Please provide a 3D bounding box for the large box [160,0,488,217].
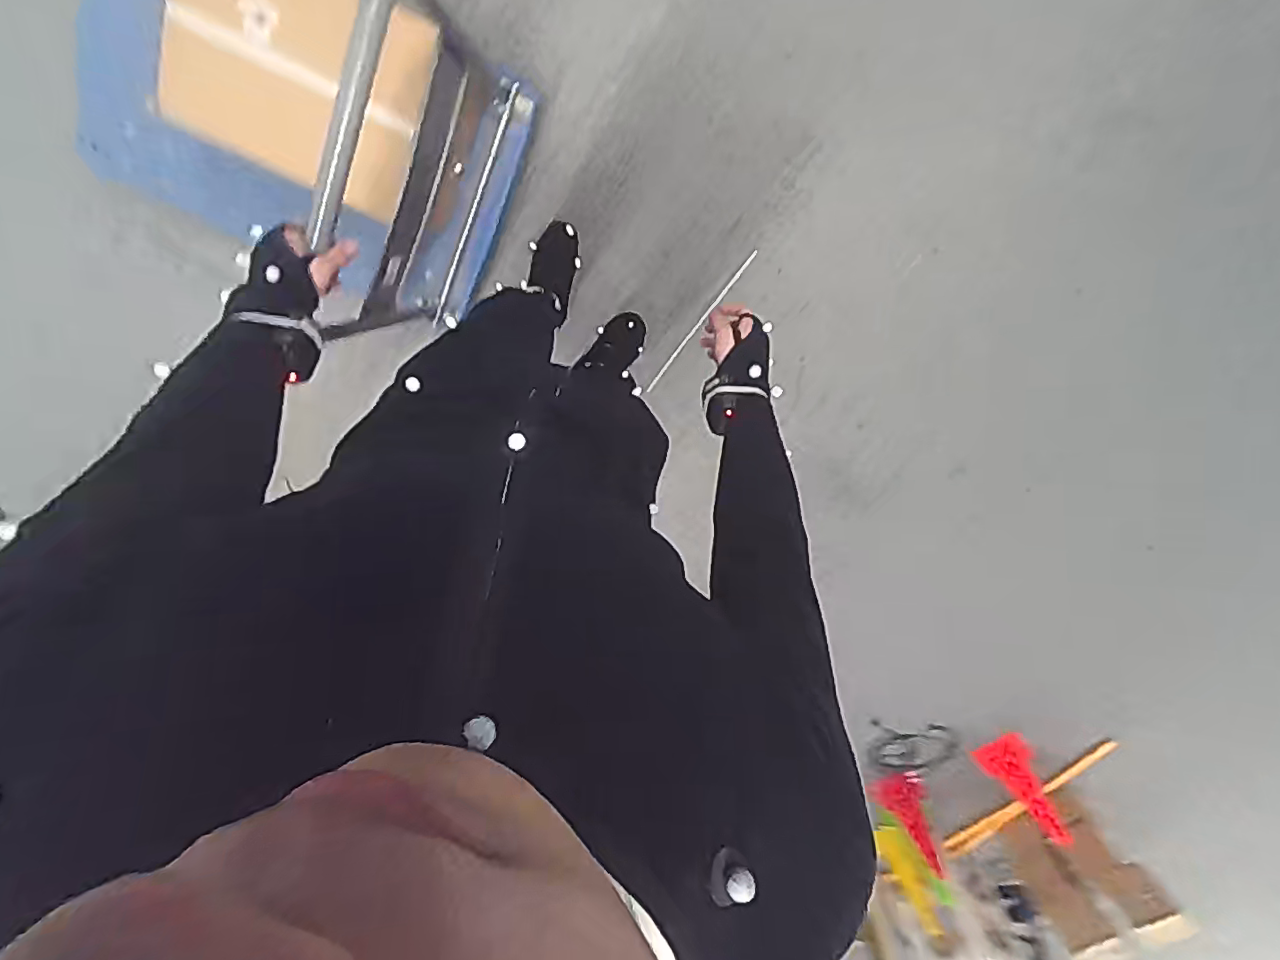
[{"bbox_3d":[-0.550,-0.733,1.006,0.408,0.320,0.320,24,111,-11],"label":"large box"}]
